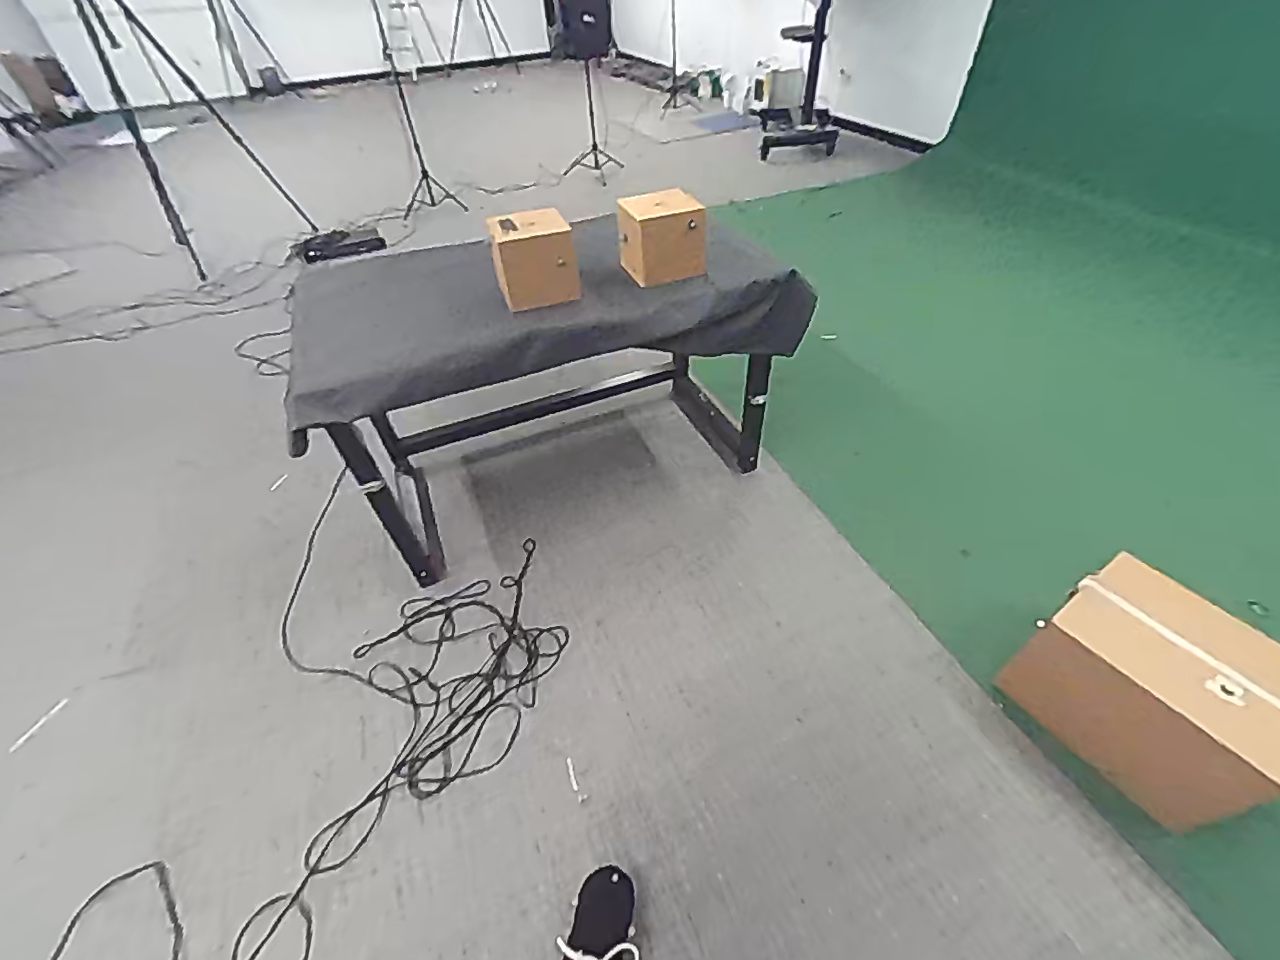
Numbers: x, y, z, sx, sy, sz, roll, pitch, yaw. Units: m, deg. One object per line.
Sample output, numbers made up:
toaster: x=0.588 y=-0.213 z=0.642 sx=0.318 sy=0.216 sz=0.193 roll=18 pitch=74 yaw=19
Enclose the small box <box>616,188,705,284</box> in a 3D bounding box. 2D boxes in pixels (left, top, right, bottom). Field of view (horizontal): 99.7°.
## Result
small box: x=0.053 y=-0.615 z=1.371 sx=0.179 sy=0.176 sz=0.168 roll=-17 pitch=46 yaw=-13
